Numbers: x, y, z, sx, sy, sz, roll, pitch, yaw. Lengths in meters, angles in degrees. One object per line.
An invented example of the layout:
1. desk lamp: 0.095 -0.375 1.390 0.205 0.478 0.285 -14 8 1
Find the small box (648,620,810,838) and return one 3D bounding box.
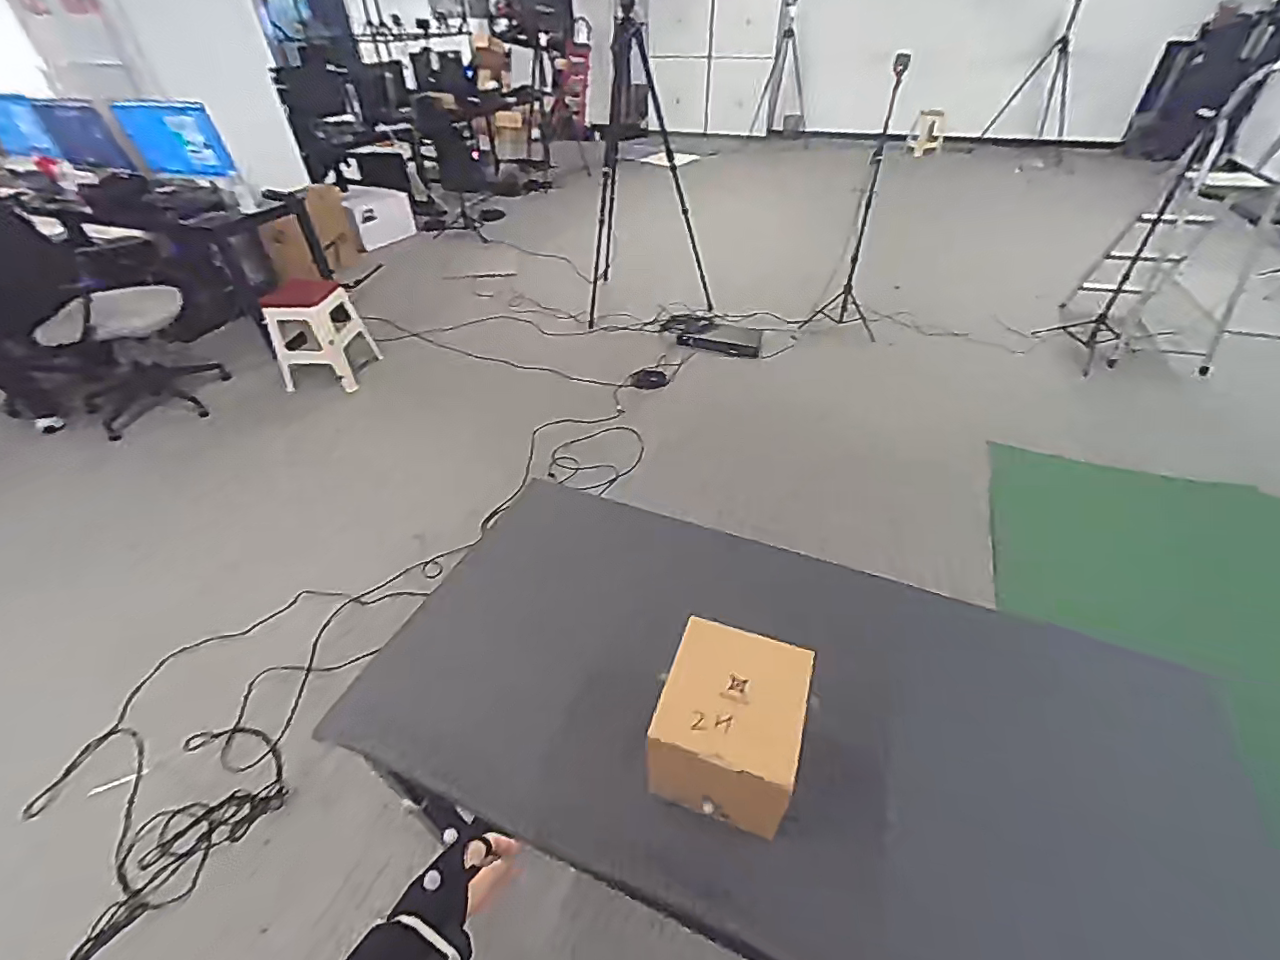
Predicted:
1. small box: 0.113 0.321 0.704 0.168 0.176 0.179 13 42 16
